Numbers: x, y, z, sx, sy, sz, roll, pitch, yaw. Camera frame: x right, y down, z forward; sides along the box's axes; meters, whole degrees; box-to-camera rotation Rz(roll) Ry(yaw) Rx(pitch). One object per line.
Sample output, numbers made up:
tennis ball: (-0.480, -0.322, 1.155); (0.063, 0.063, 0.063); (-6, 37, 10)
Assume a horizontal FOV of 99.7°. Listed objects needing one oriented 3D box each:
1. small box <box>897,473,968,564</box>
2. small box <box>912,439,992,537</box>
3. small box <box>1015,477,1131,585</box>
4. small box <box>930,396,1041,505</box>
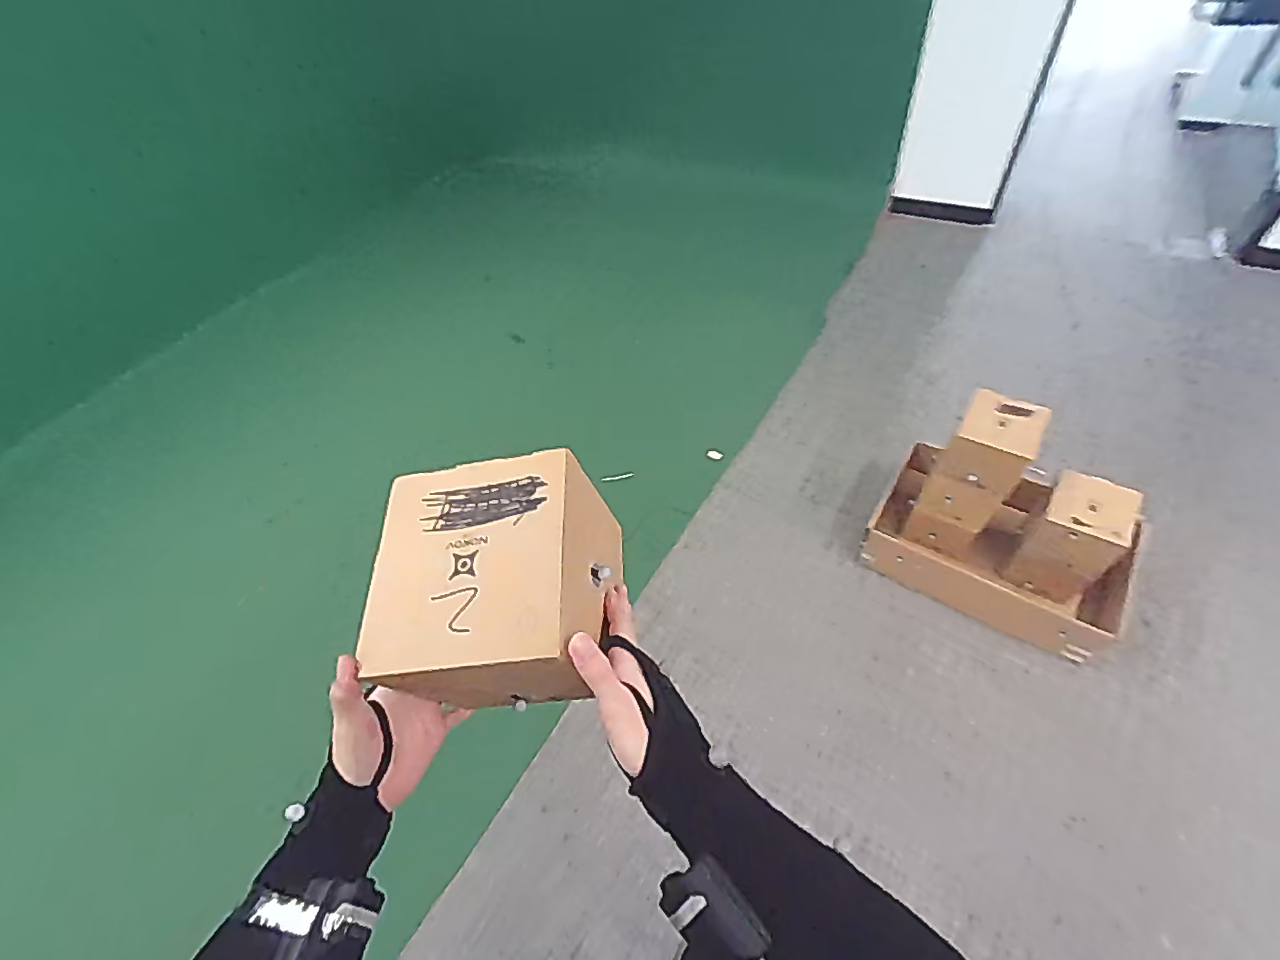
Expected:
small box: (0.884, 0.119, 1.605); (0.168, 0.176, 0.179); (26, 61, 25)
small box: (0.867, 0.025, 1.475); (0.168, 0.176, 0.179); (25, 60, 25)
small box: (1.080, 0.129, 1.360); (0.168, 0.176, 0.179); (24, 60, 27)
small box: (0.850, -0.072, 1.343); (0.168, 0.176, 0.179); (25, 61, 25)
